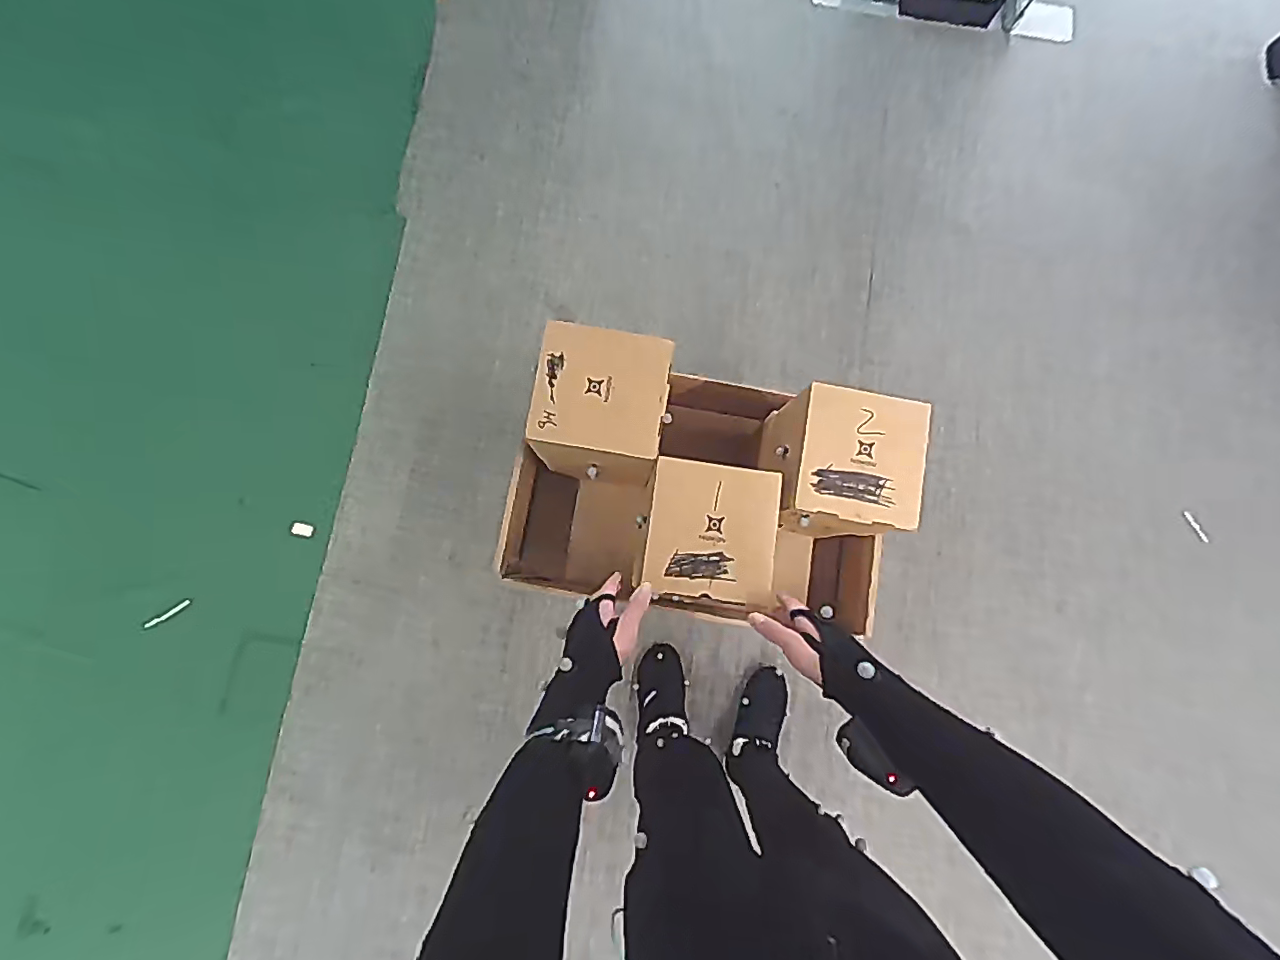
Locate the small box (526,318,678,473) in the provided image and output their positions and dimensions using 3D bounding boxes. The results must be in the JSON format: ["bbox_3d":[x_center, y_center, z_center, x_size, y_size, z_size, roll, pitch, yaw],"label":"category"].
[{"bbox_3d":[-0.053,-0.111,0.785,0.179,0.176,0.168,10,82,-2],"label":"small box"}]
